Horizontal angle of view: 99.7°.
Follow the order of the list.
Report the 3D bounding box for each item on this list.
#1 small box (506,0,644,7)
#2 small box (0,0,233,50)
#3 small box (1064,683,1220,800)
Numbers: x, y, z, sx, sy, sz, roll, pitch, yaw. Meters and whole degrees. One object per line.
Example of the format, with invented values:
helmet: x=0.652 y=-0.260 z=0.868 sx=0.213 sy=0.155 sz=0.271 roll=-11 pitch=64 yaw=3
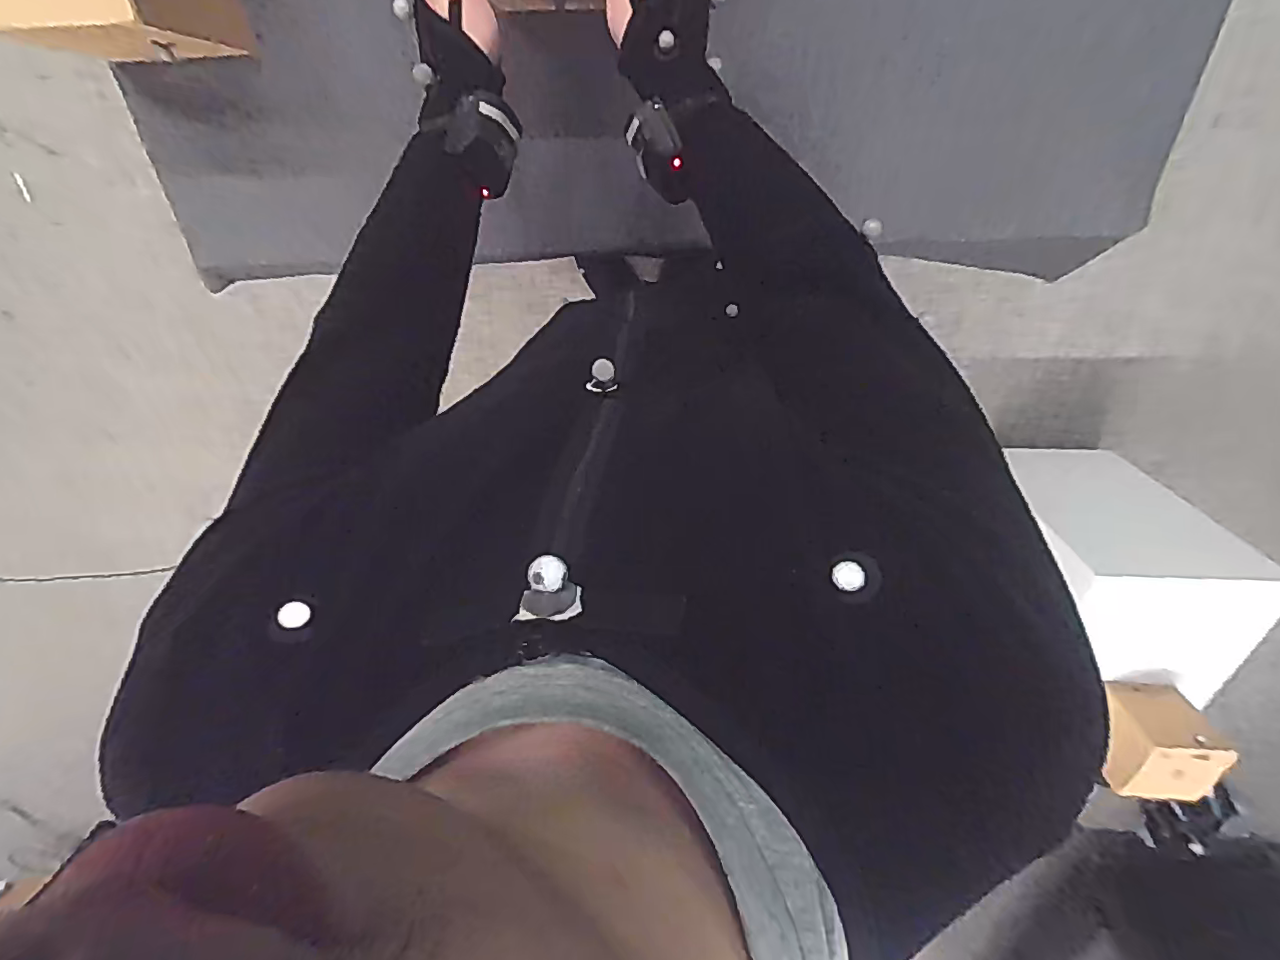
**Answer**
small box: x=-0.062 y=-0.525 z=0.453 sx=0.179 sy=0.176 sz=0.168 roll=1 pitch=120 yaw=2
small box: x=-0.512 y=-0.503 z=0.481 sx=0.179 sy=0.176 sz=0.168 roll=0 pitch=119 yaw=3
small box: x=1.116 y=0.590 z=1.225 sx=0.168 sy=0.176 sz=0.179 roll=2 pitch=121 yaw=0
